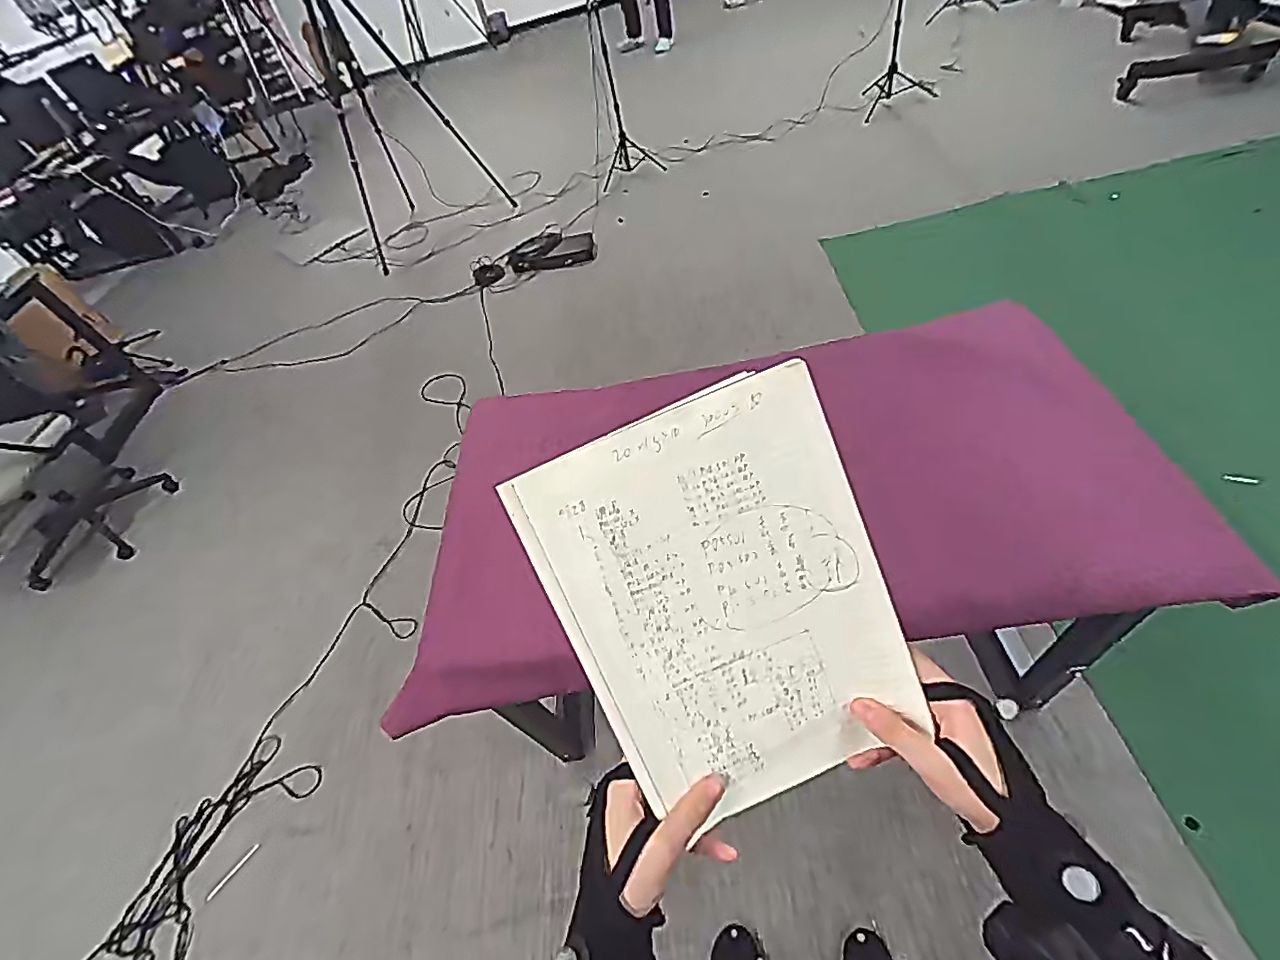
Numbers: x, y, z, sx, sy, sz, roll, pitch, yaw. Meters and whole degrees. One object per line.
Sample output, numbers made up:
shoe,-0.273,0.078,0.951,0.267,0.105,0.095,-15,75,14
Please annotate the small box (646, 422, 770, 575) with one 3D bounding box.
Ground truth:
small box,0.109,0.038,0.860,0.168,0.176,0.179,-10,51,7
